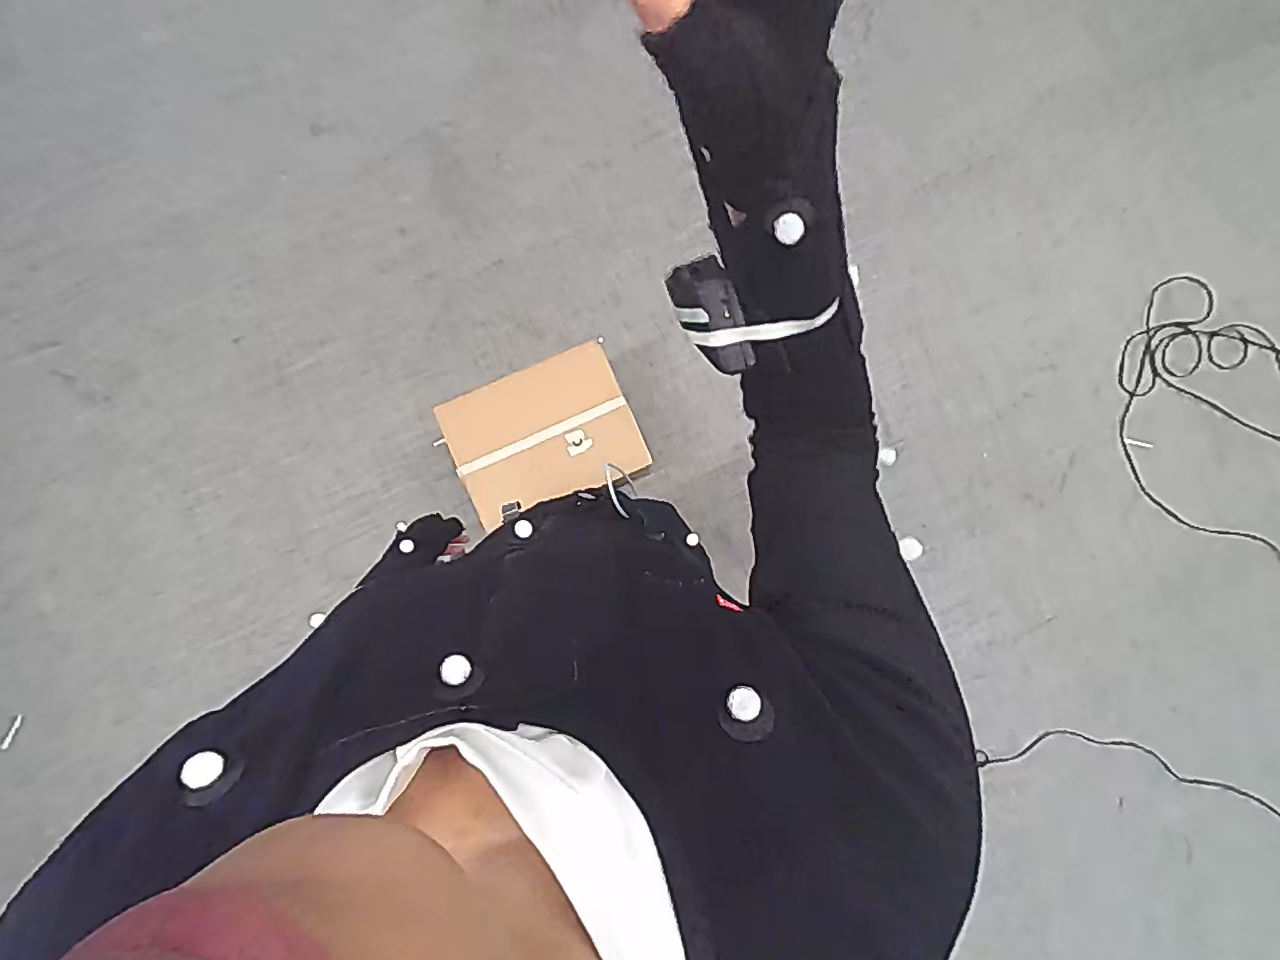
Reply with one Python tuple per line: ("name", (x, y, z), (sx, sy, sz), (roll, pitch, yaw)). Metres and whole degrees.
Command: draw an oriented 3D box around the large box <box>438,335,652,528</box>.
("large box", (-0.215, -0.101, 1.353), (0.408, 0.320, 0.320), (-24, 89, -2))
